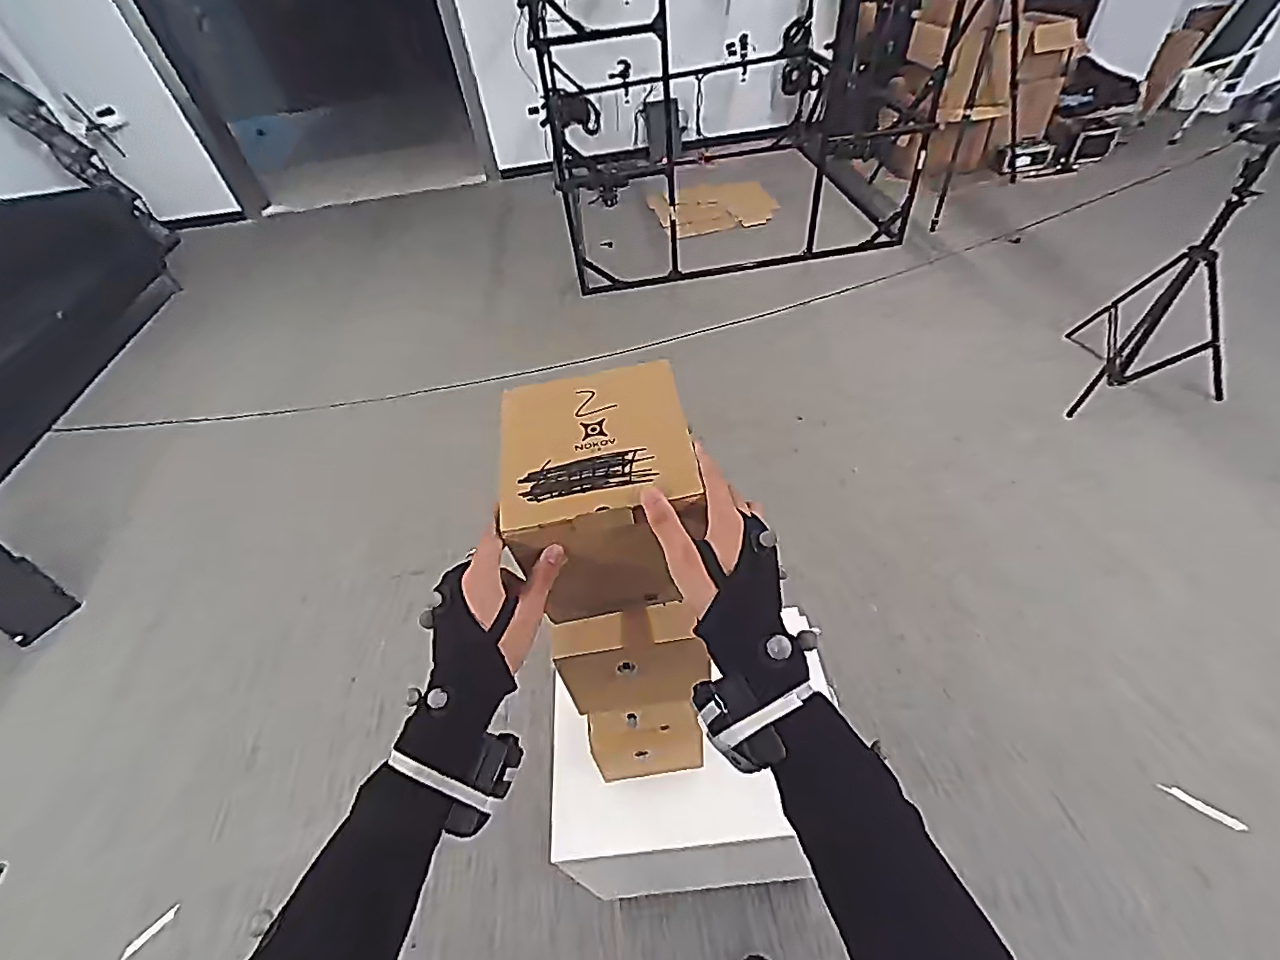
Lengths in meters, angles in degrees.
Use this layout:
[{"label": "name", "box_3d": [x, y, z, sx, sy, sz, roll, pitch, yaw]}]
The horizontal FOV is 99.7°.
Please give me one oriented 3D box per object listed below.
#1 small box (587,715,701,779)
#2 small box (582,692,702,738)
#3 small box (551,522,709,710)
[{"label": "small box", "box_3d": [0.006, 0.399, 0.936, 0.179, 0.176, 0.168, -8, 47, -1]}, {"label": "small box", "box_3d": [0.002, 0.277, 0.827, 0.168, 0.176, 0.179, -7, 46, 0]}, {"label": "small box", "box_3d": [-0.010, 0.178, 0.695, 0.179, 0.176, 0.168, -8, 47, 0]}]
